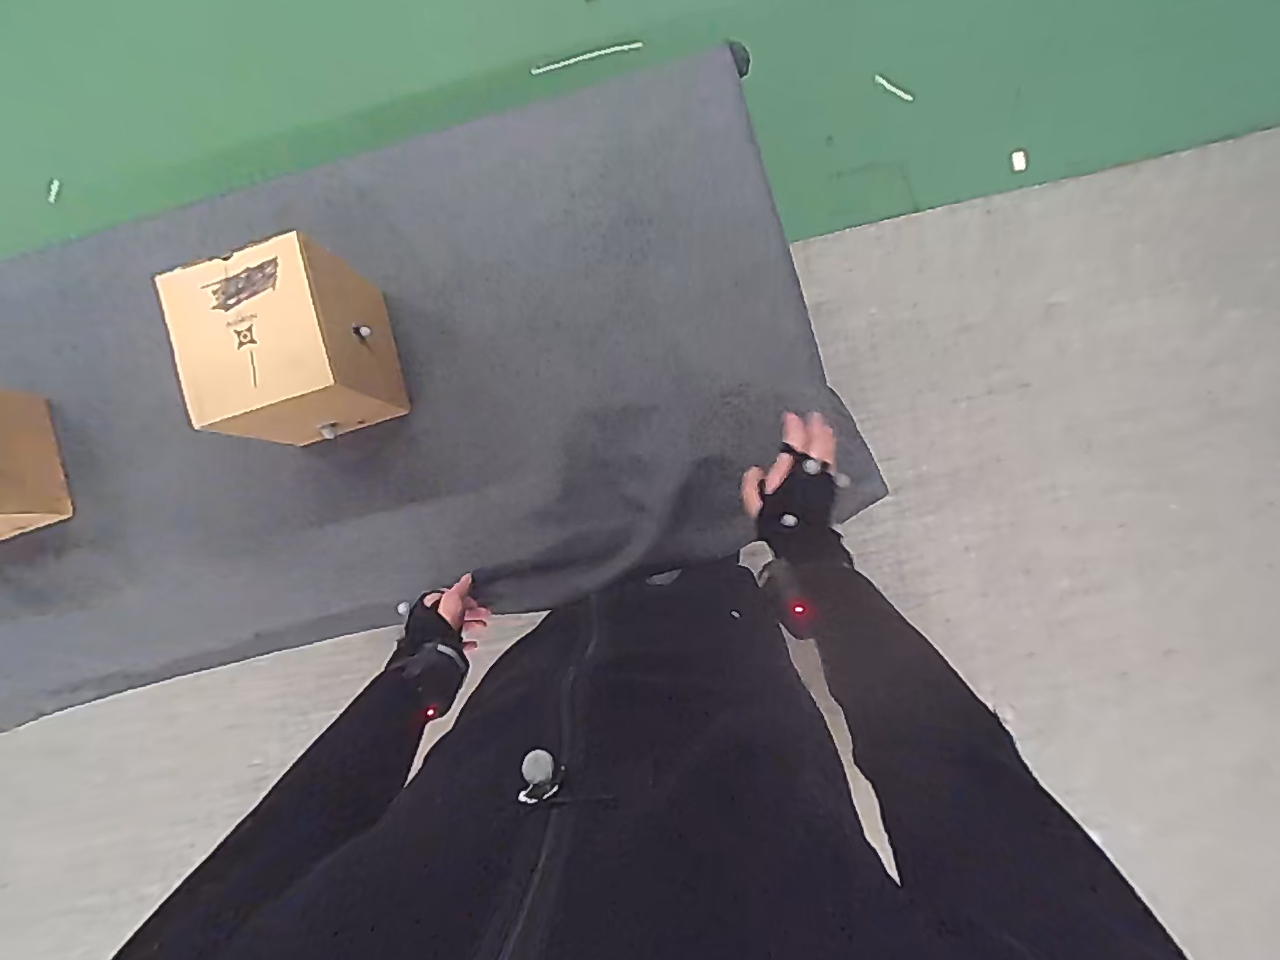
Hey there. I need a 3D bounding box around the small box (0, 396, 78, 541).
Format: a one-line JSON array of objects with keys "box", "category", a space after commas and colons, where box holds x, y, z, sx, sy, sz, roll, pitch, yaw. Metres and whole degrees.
[{"box": [-0.885, -0.010, 0.689, 0.168, 0.176, 0.179, -18, 86, 3], "category": "small box"}]

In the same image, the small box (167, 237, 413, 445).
[{"box": [-0.407, -0.153, 0.656, 0.168, 0.176, 0.179, -16, 86, 4], "category": "small box"}]
